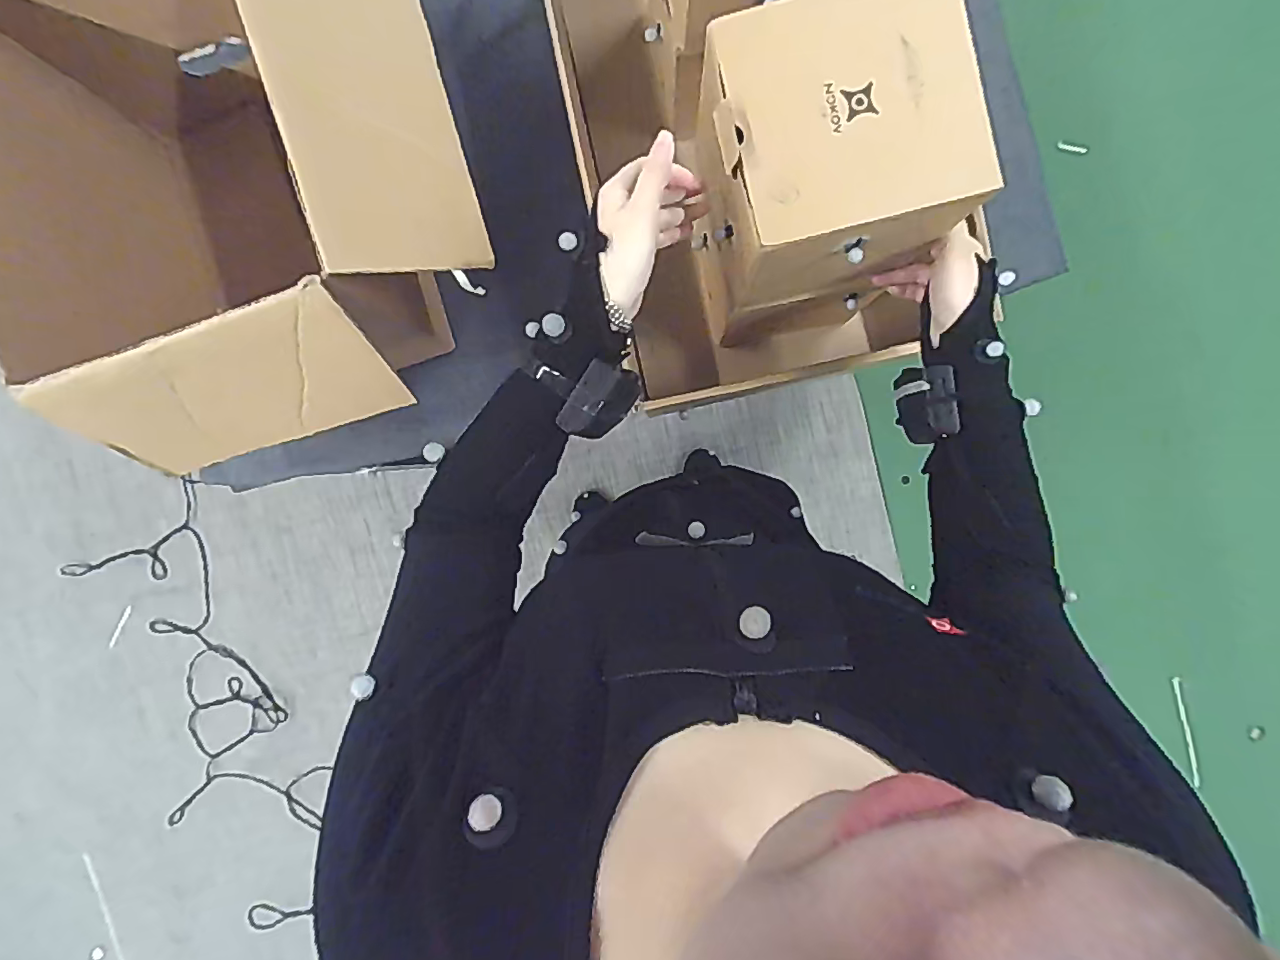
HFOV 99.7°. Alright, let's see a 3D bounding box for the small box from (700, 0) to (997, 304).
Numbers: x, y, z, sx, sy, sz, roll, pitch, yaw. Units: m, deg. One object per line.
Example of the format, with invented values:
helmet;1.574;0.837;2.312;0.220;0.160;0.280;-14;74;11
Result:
small box;0.152;-0.267;0.460;0.179;0.176;0.168;-14;93;2
